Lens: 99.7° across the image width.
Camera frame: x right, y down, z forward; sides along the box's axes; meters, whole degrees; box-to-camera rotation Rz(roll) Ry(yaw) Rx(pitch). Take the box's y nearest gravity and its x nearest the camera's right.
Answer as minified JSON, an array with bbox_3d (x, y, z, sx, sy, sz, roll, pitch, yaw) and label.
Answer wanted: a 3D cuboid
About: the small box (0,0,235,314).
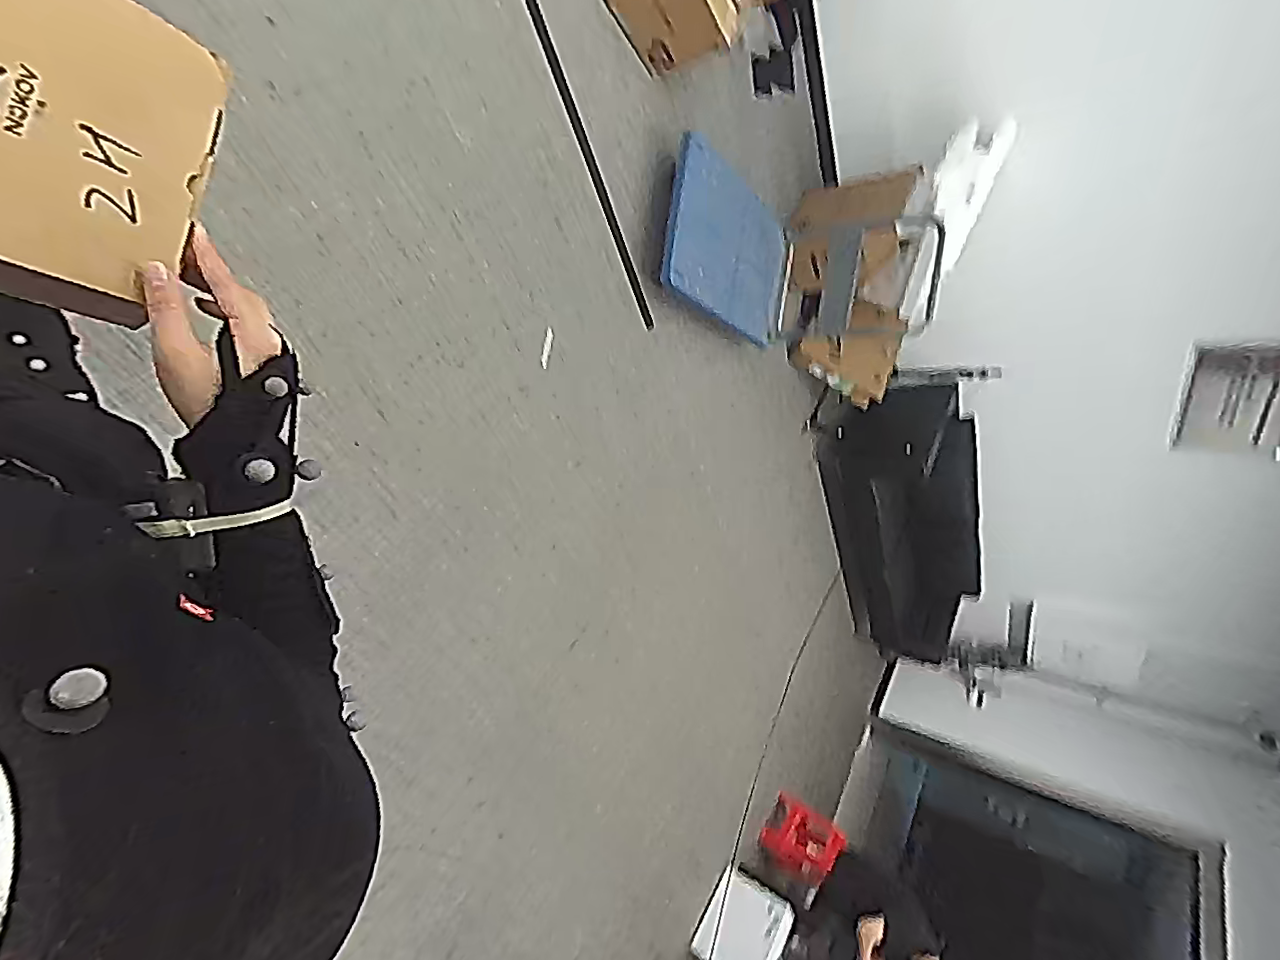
[{"bbox_3d":[-0.387,-0.210,0.326,0.179,0.176,0.168,14,87,-50],"label":"small box"}]
